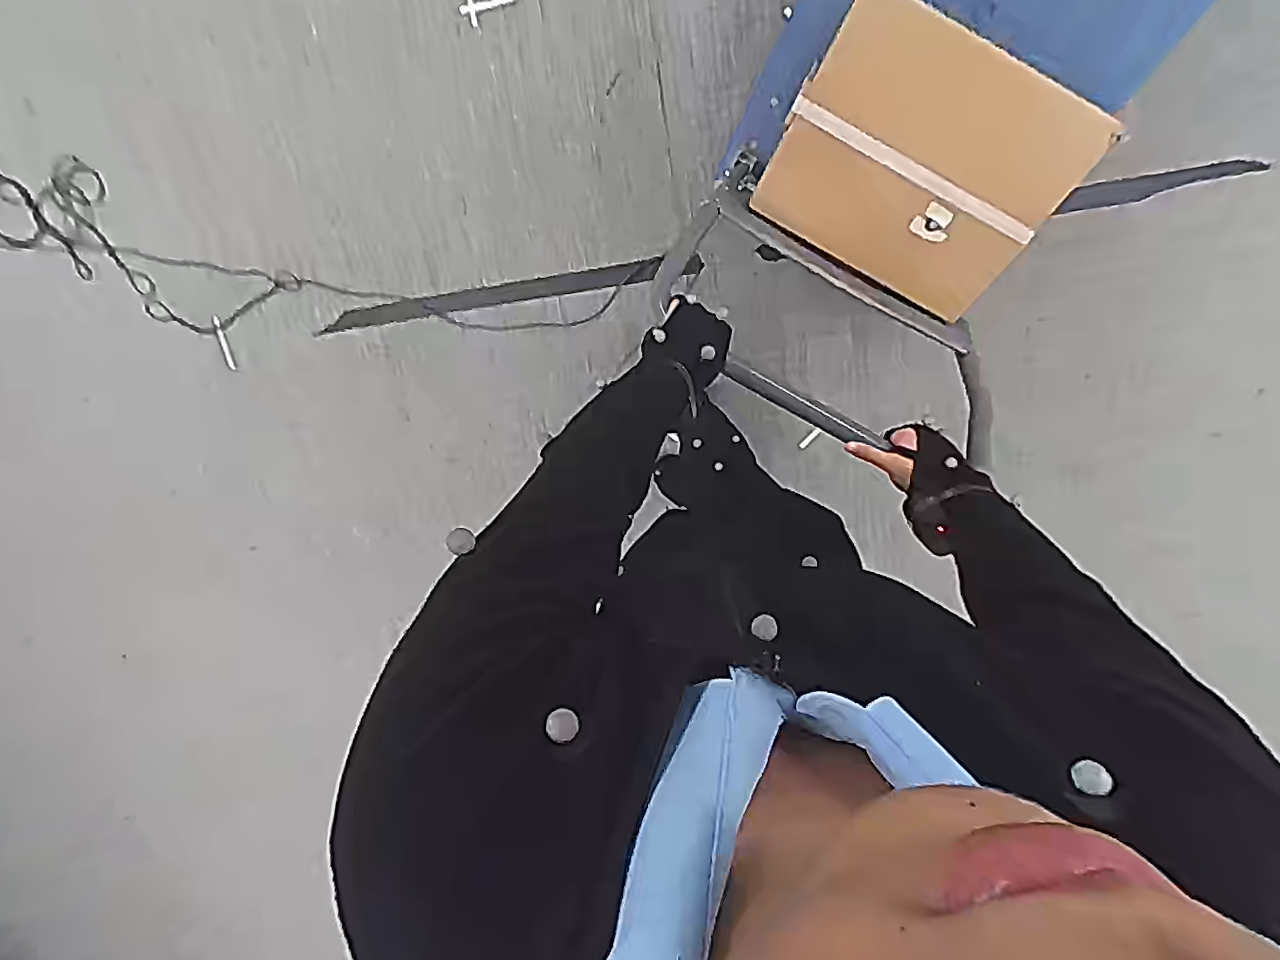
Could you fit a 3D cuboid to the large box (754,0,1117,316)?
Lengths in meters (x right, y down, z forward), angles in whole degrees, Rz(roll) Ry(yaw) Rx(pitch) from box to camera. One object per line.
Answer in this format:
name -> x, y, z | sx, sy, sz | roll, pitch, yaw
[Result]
large box -> 0.457, -0.557, 0.939 | 0.408, 0.320, 0.320 | 28, 131, -3
